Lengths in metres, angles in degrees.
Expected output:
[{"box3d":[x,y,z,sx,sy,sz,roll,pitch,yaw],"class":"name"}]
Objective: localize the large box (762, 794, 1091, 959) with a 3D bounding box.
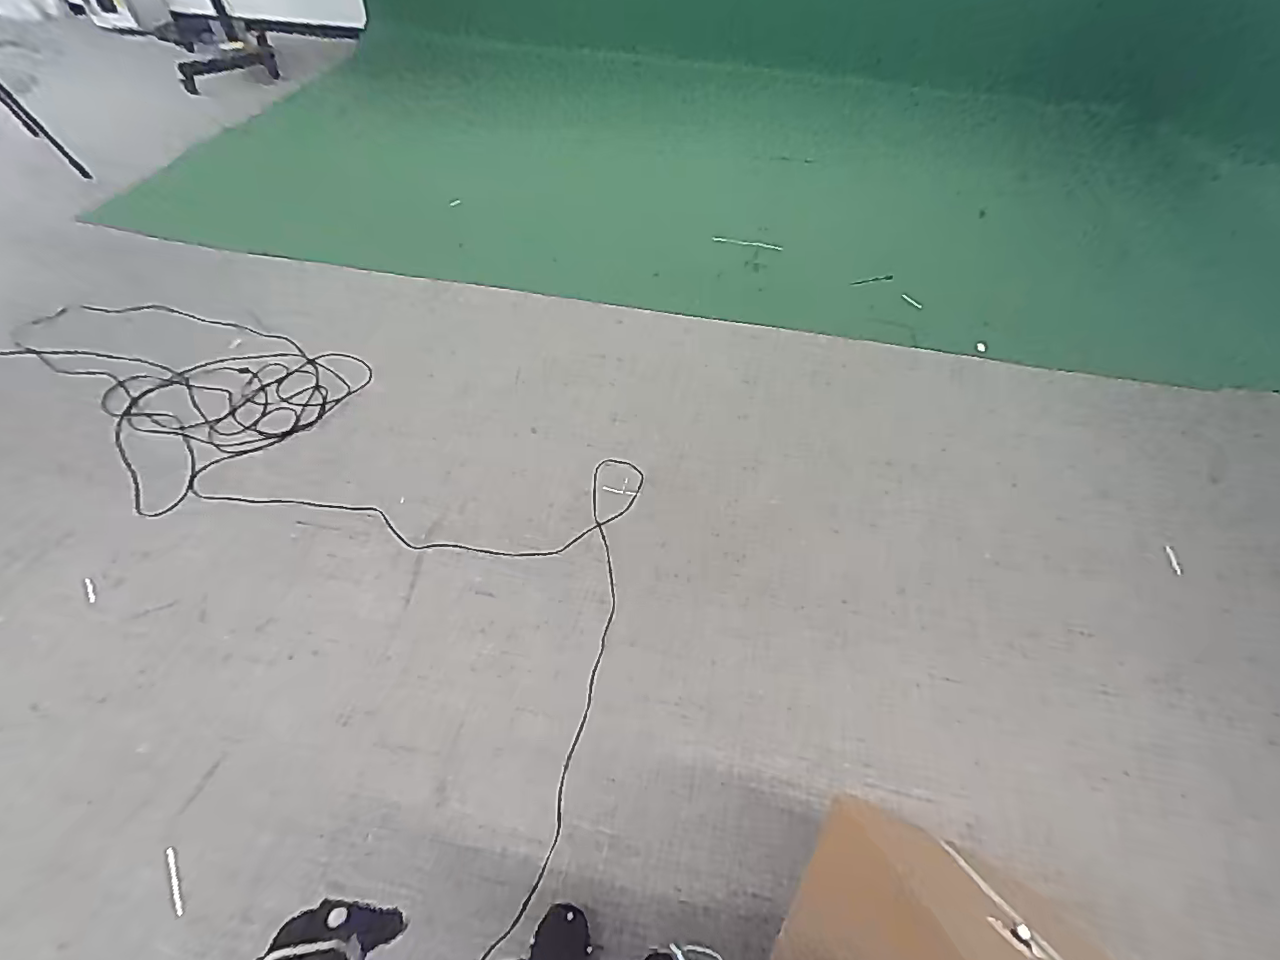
[{"box3d":[0.365,0.661,0.615,0.320,0.408,0.320,26,84,4],"class":"large box"}]
